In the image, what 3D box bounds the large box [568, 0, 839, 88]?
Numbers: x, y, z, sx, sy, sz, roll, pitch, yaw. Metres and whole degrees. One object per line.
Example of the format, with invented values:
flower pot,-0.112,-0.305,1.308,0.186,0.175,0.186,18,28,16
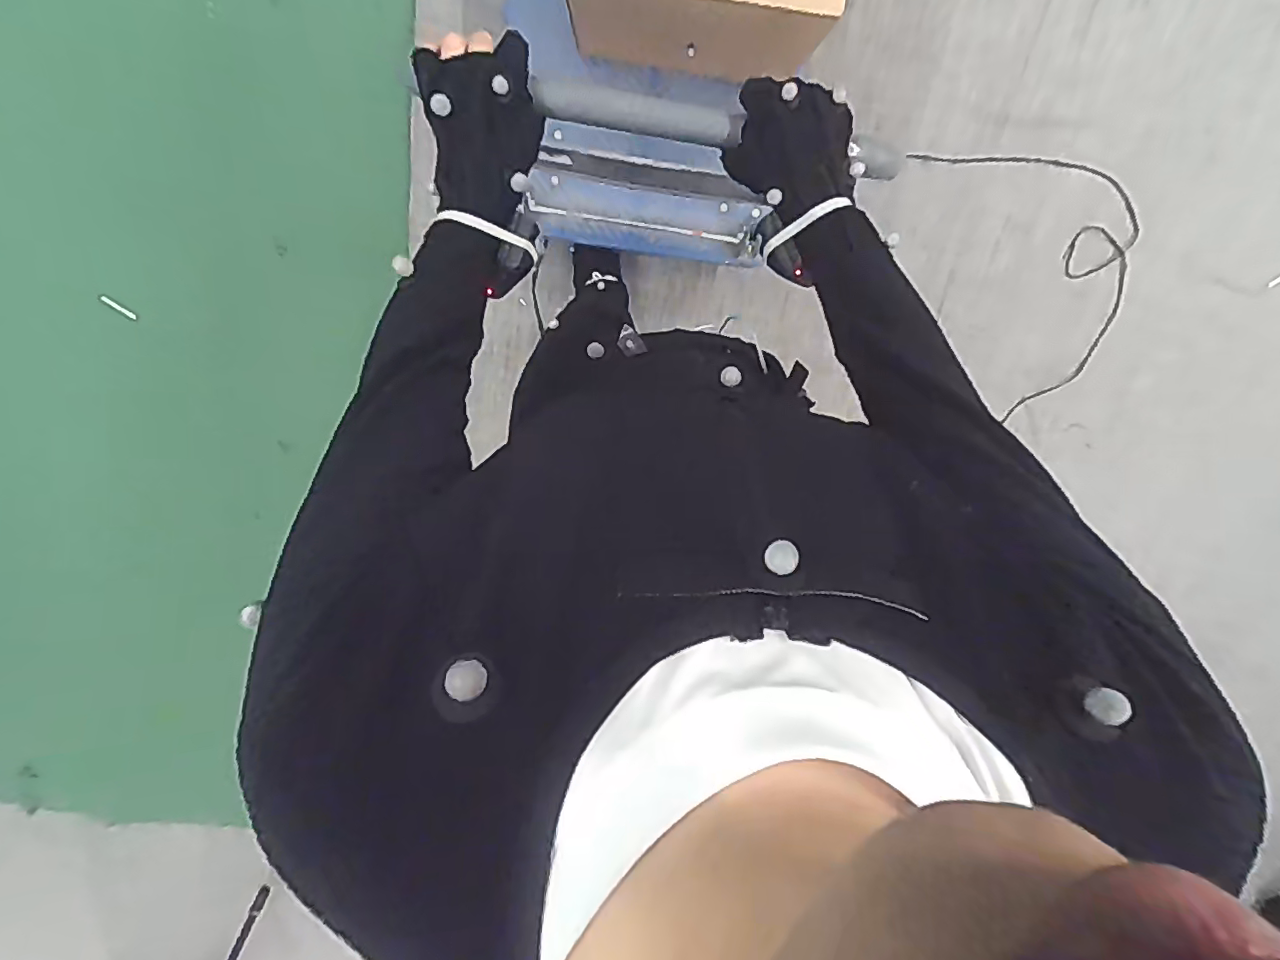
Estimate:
large box,0.106,-0.880,0.871,0.408,0.320,0.320,7,109,-2
